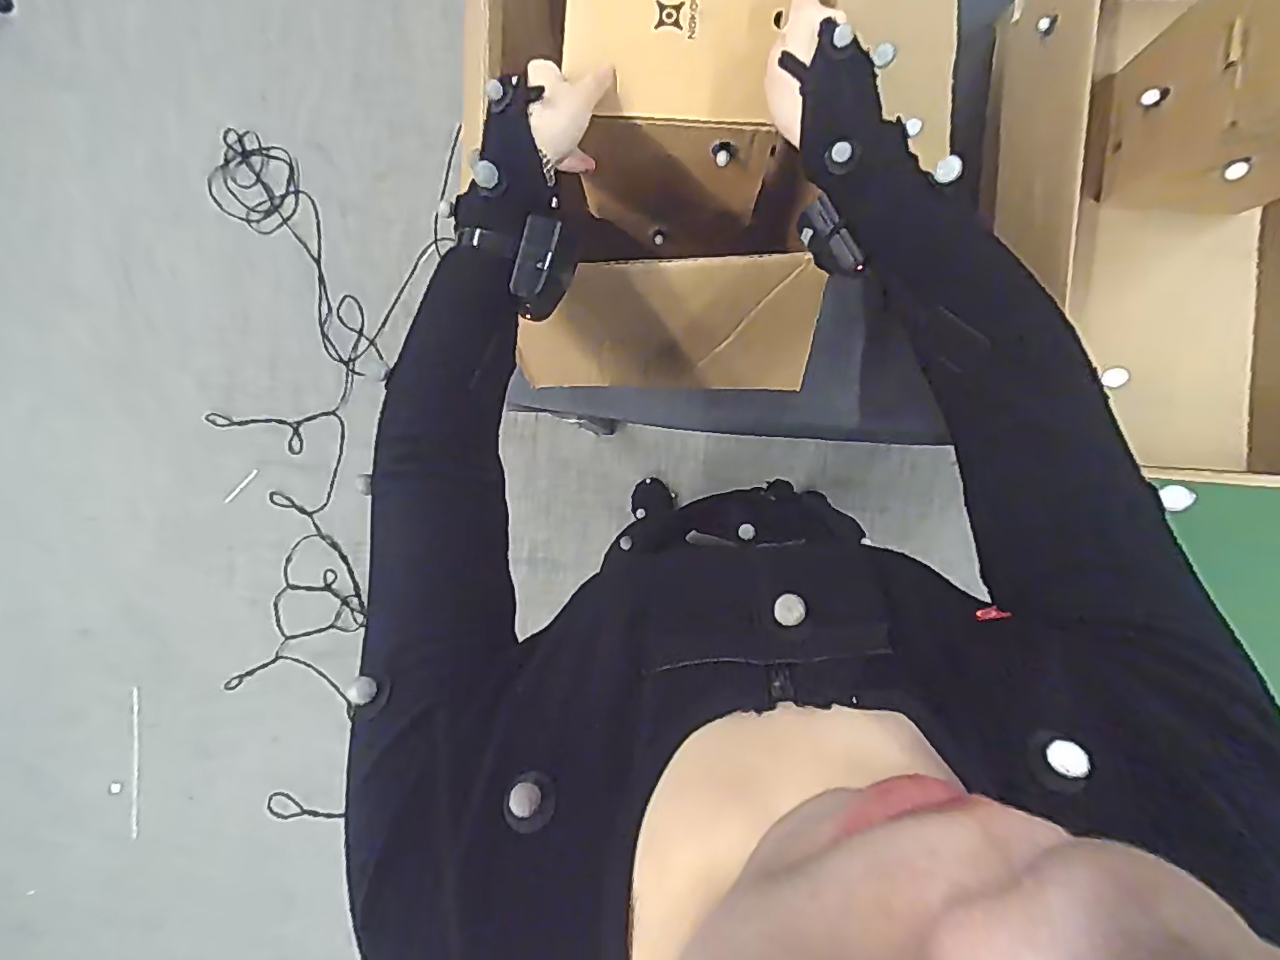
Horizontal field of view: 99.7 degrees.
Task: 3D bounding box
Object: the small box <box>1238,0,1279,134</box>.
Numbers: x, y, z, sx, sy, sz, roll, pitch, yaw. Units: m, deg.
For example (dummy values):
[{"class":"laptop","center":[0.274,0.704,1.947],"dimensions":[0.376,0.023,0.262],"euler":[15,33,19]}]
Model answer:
[{"class":"small box","center":[0.649,-0.409,0.430],"dimensions":[0.168,0.176,0.179],"euler":[5,93,4]}]
